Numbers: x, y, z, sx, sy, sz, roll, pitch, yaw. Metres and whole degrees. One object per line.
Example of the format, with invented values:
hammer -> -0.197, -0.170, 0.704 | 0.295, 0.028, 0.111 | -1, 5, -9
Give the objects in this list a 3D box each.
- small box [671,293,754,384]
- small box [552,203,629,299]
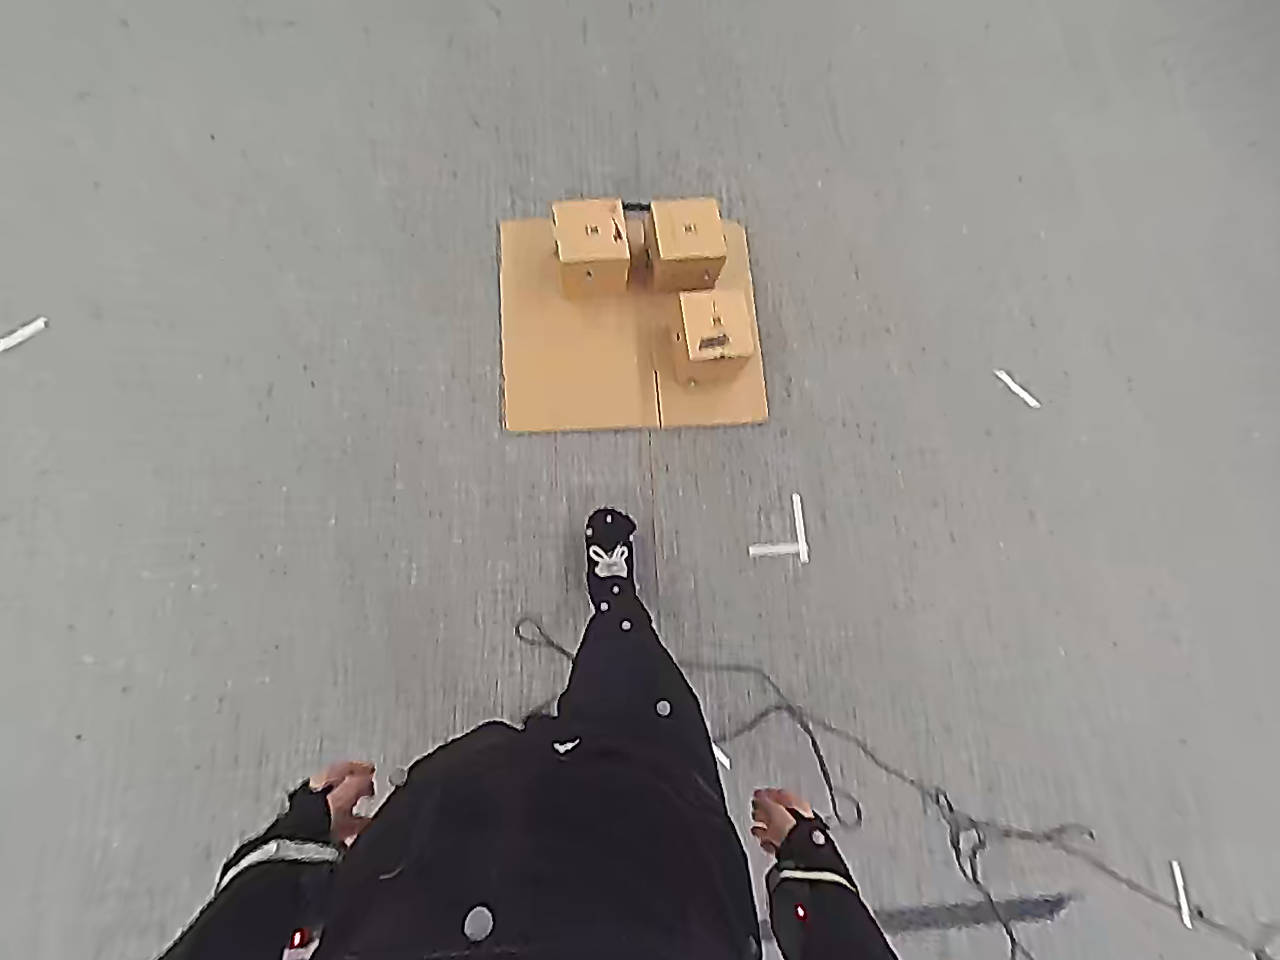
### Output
small box -> 0.180, -0.354, 1.389 | 0.168, 0.176, 0.179 | -6, 79, -7
small box -> -0.126, -0.586, 1.403 | 0.179, 0.176, 0.168 | -7, 80, -6
